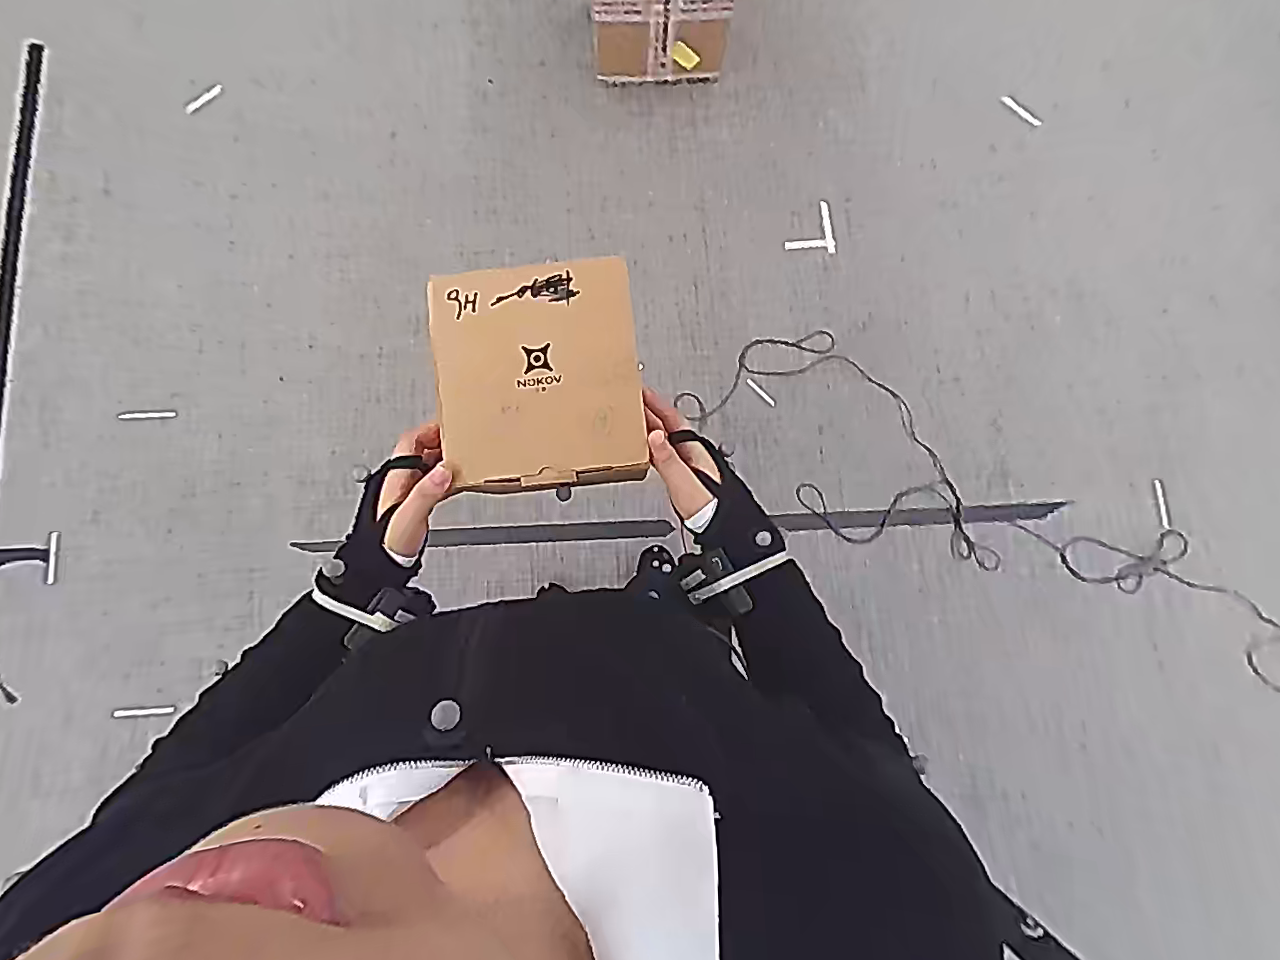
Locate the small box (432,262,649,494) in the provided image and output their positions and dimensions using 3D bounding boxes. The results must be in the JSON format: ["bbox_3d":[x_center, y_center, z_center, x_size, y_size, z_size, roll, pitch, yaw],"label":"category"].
[{"bbox_3d":[-0.080,-0.081,0.515,0.168,0.176,0.179,-6,87,-1],"label":"small box"}]
